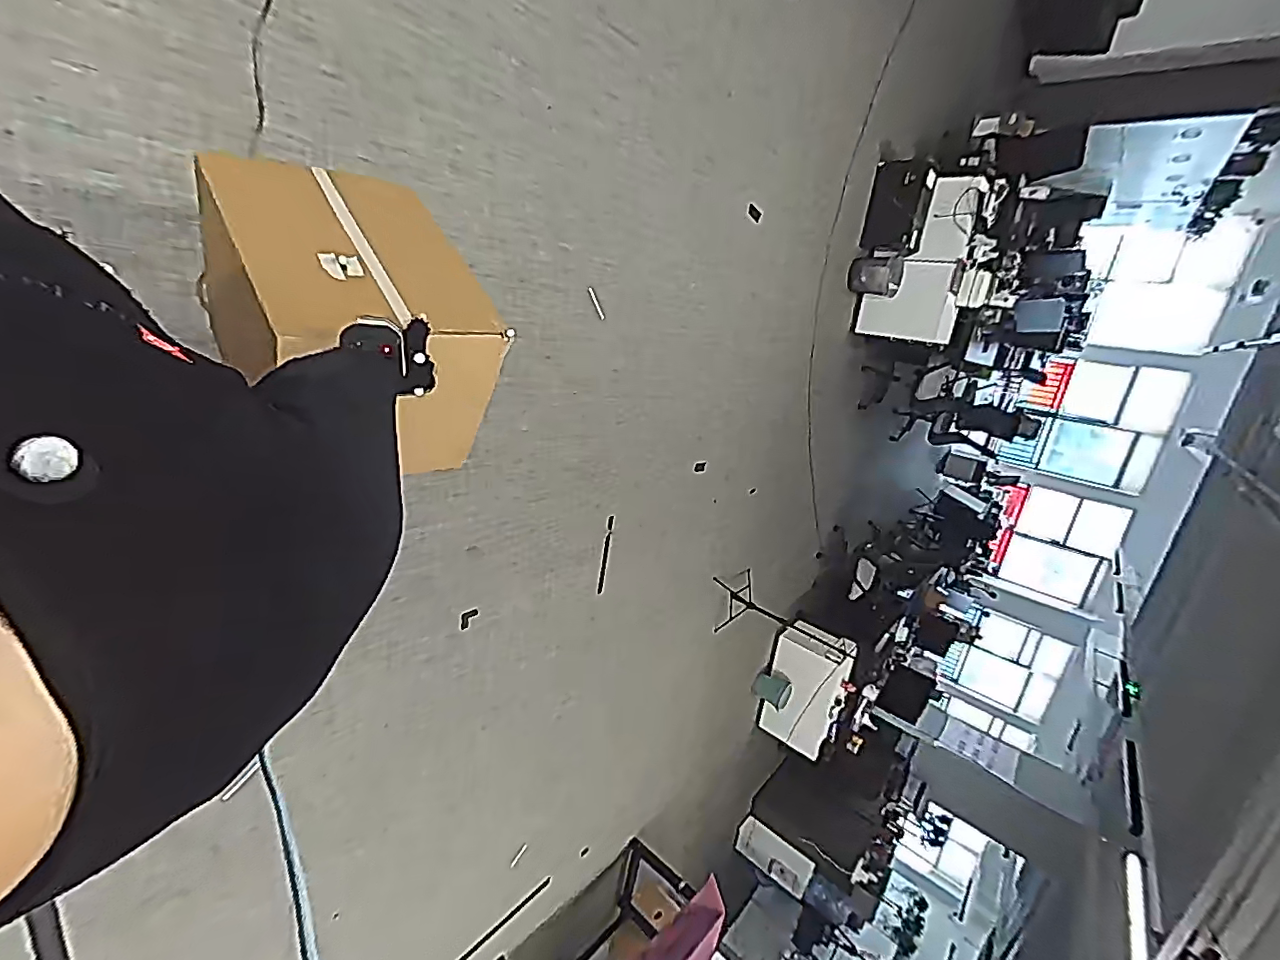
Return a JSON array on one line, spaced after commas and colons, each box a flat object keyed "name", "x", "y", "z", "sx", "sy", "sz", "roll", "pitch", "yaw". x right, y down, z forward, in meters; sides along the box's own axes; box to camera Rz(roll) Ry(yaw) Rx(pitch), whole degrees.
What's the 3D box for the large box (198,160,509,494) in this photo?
[{"name": "large box", "x": -0.488, "y": -0.245, "z": 0.907, "sx": 0.320, "sy": 0.408, "sz": 0.320, "roll": -16, "pitch": 153, "yaw": -42}]
